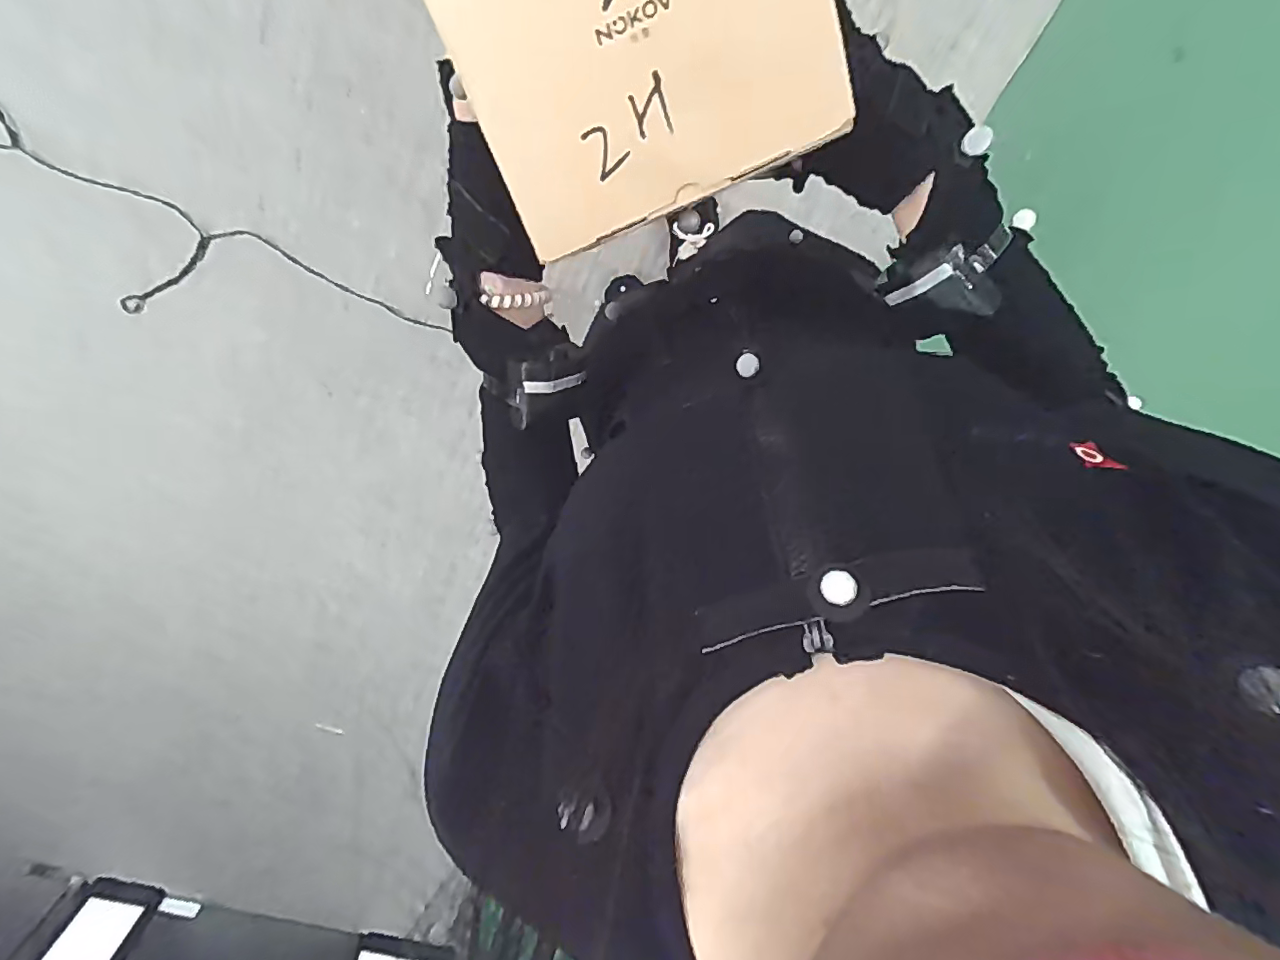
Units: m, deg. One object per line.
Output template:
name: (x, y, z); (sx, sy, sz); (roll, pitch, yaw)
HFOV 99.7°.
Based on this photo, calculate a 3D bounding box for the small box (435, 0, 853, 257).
small box: (-0.001, -0.246, 0.311); (0.168, 0.176, 0.179); (-18, 113, 13)
